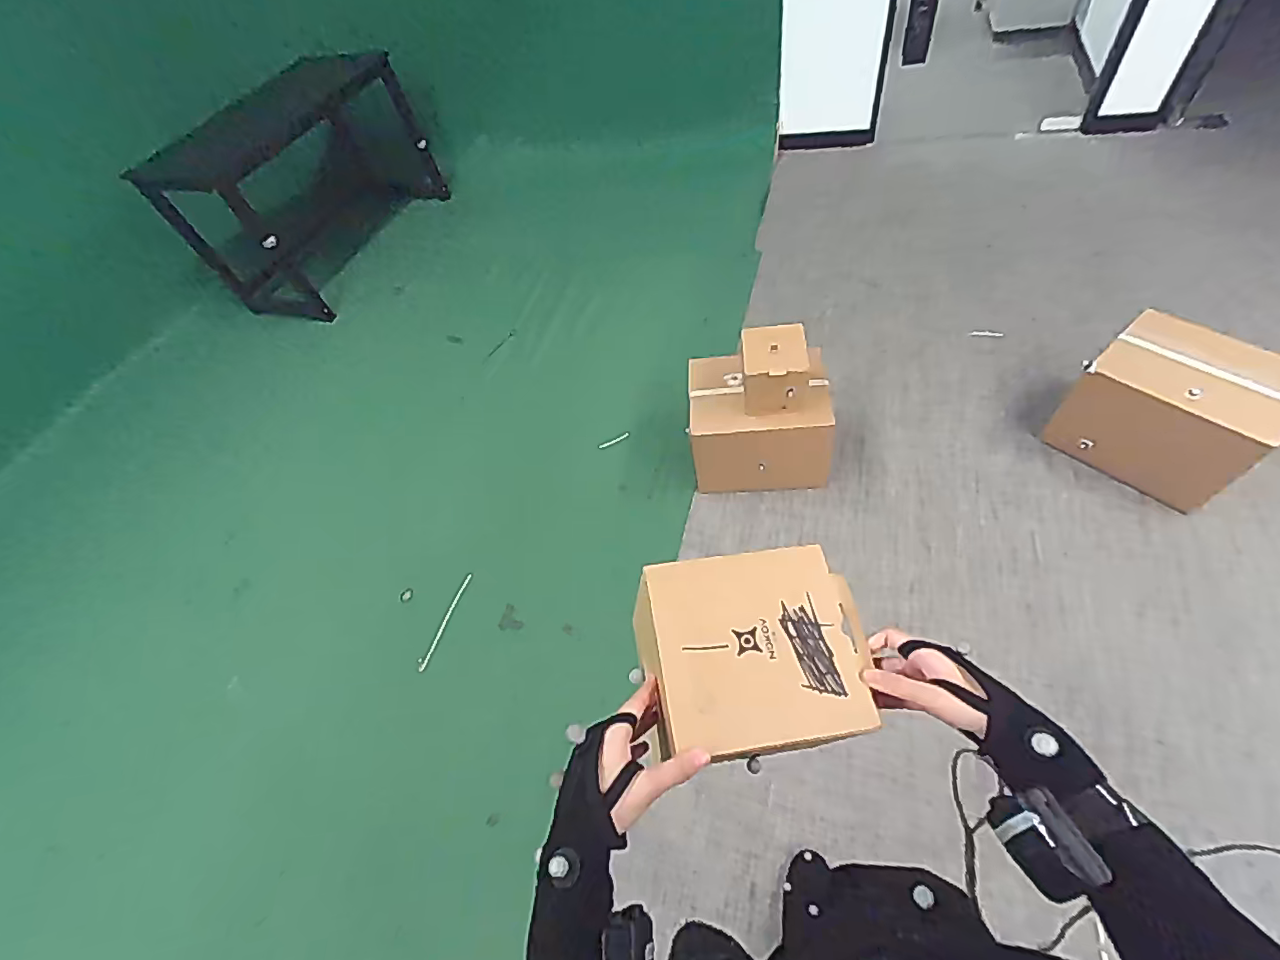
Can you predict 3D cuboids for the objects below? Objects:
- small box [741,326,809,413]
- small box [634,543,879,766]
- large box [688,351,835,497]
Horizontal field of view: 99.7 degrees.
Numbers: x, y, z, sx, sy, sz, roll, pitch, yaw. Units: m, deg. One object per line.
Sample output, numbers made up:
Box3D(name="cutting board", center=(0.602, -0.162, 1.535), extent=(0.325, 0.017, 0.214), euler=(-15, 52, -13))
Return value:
Box3D(name="small box", center=(0.369, -0.297, 1.494), extent=(0.168, 0.176, 0.179), euler=(-3, 55, 10))
Box3D(name="small box", center=(0.094, 0.177, 0.535), extent=(0.179, 0.176, 0.168), euler=(-5, 59, -7))
Box3D(name="large box", center=(0.372, -0.165, 1.706), extent=(0.408, 0.320, 0.320), euler=(-5, 53, 11))
